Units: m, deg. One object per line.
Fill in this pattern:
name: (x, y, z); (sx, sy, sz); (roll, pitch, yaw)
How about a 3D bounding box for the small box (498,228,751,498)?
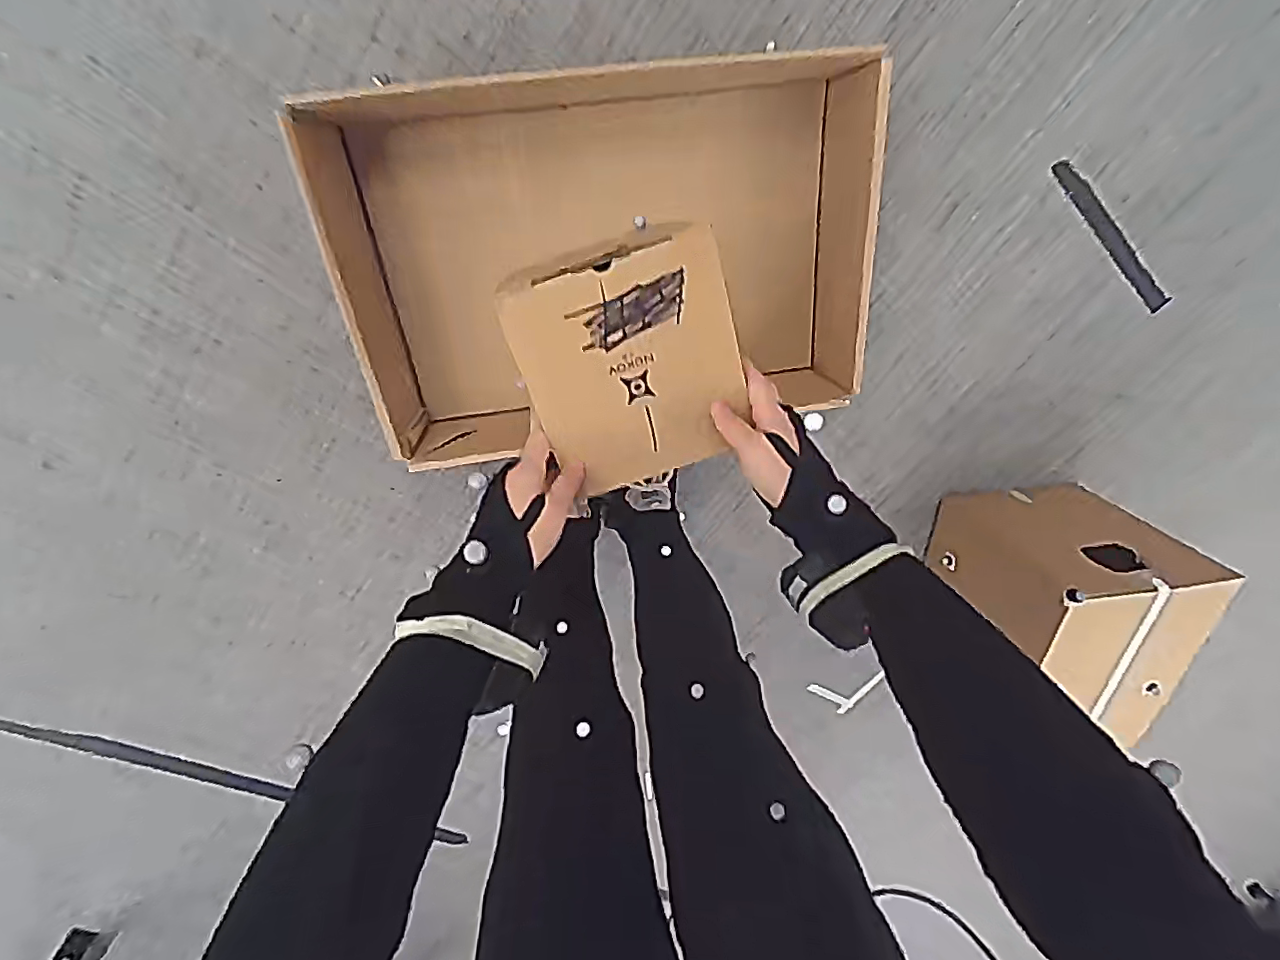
small box: (-0.016, -0.116, 0.492); (0.168, 0.176, 0.179); (-18, 119, 0)
